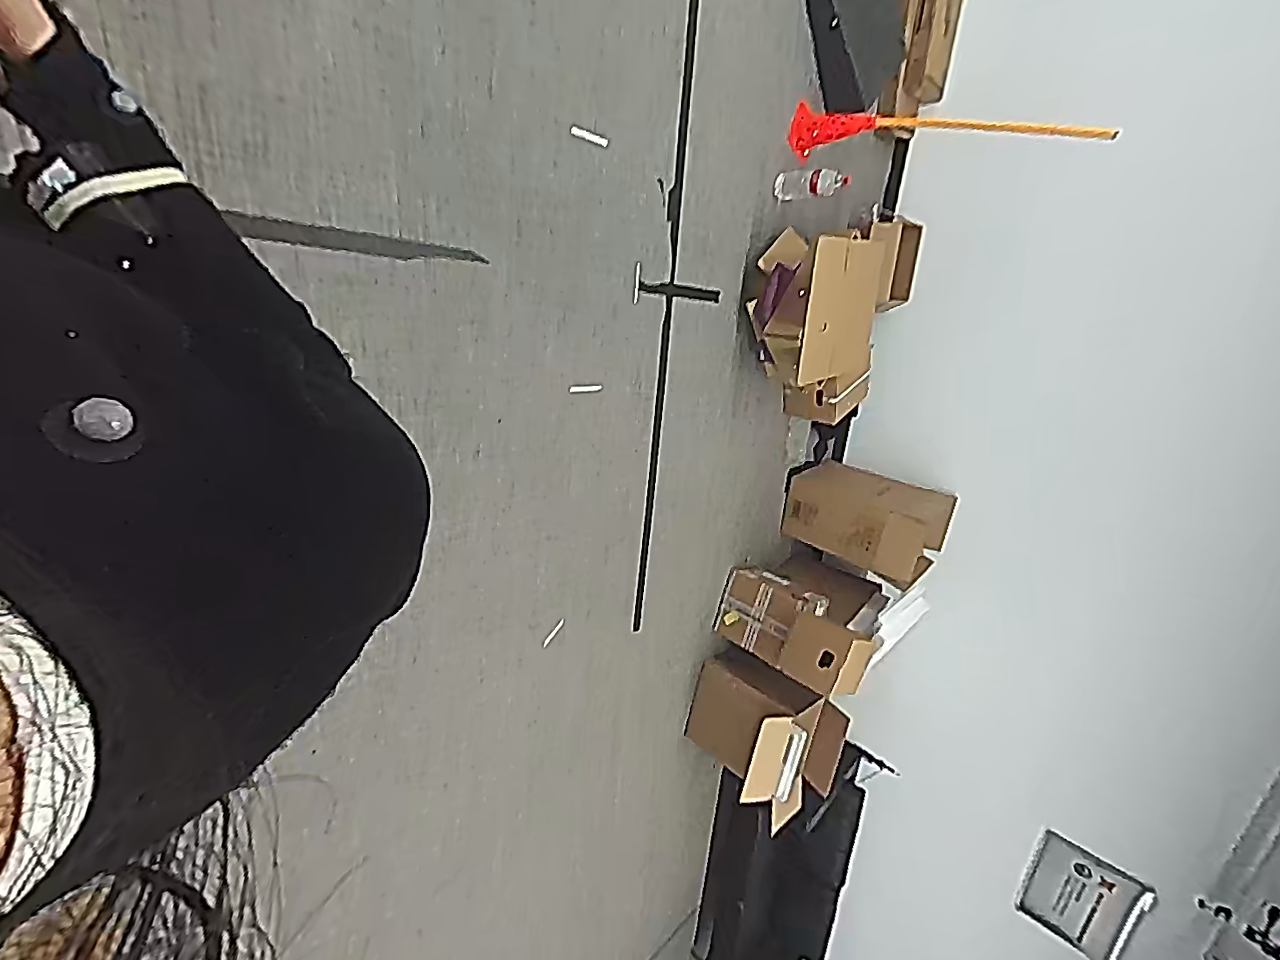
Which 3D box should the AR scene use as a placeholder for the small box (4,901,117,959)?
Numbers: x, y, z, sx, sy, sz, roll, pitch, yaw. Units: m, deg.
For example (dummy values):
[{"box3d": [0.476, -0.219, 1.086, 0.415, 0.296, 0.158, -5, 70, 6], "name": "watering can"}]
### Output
[{"box3d": [-1.325, 1.136, 1.238, 0.179, 0.176, 0.168, -5, 109, -49], "name": "small box"}]
